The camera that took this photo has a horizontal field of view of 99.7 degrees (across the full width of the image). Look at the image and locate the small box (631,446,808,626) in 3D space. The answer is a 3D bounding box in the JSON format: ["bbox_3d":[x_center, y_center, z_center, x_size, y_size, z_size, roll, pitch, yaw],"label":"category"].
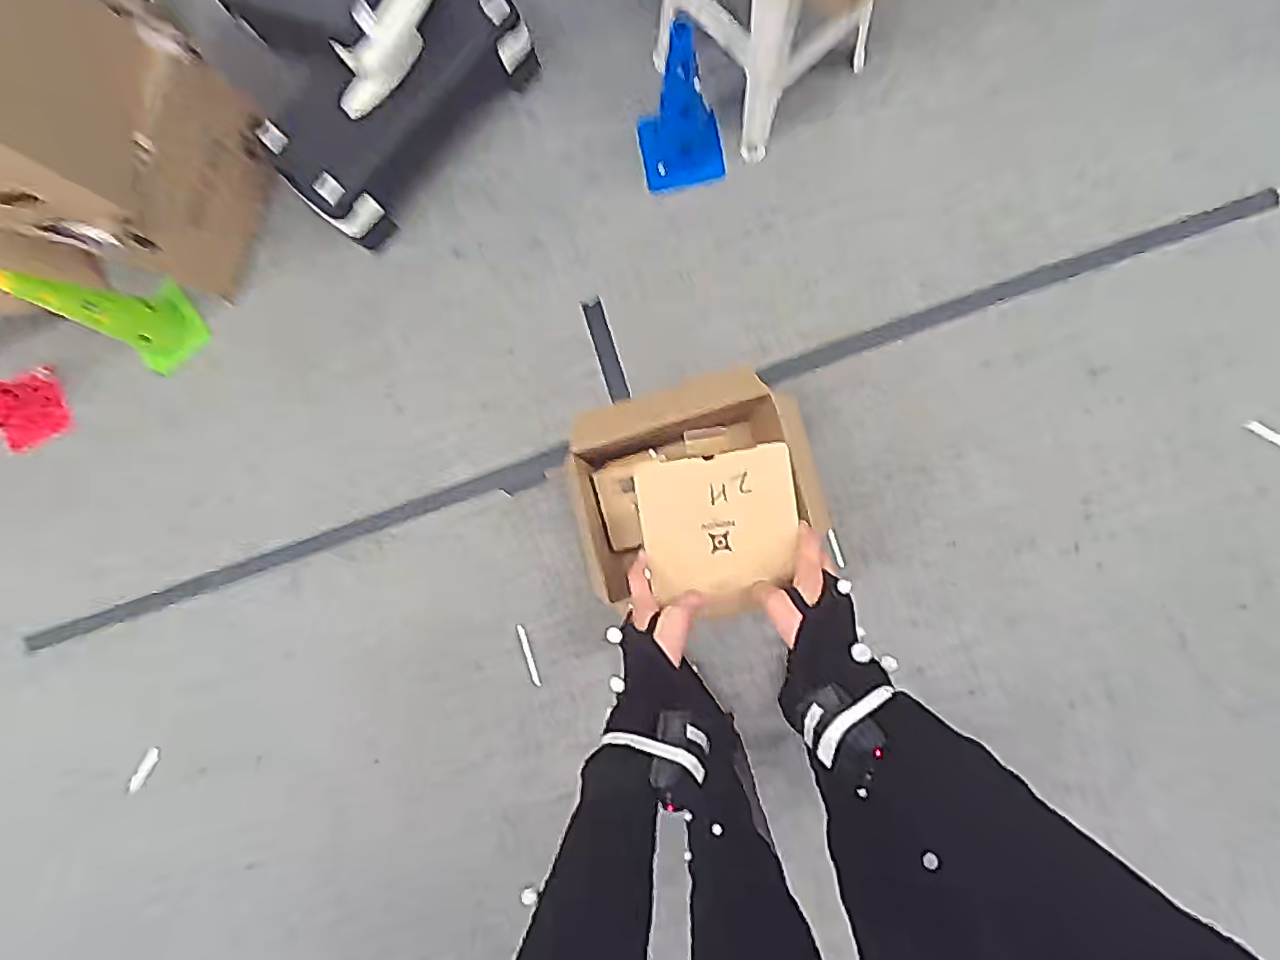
[{"bbox_3d":[0.093,0.055,0.640,0.168,0.176,0.179,-9,92,8],"label":"small box"}]
